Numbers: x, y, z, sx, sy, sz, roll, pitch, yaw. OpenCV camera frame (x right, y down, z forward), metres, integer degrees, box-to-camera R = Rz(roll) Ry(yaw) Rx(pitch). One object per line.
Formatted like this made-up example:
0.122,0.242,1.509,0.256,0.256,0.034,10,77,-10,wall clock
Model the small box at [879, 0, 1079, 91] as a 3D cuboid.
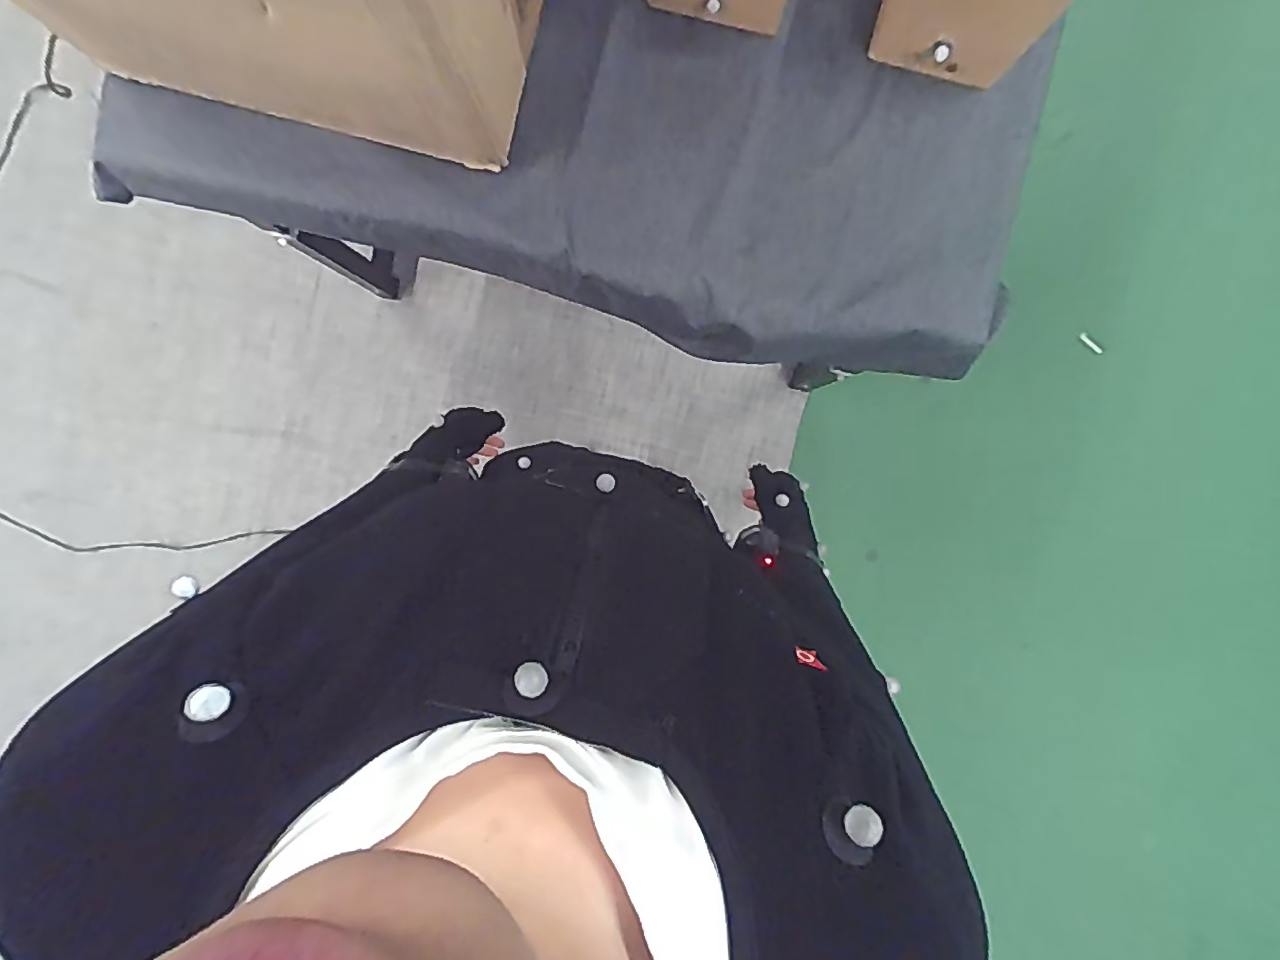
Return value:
0.404,-0.607,0.623,0.168,0.176,0.179,15,94,0,small box
